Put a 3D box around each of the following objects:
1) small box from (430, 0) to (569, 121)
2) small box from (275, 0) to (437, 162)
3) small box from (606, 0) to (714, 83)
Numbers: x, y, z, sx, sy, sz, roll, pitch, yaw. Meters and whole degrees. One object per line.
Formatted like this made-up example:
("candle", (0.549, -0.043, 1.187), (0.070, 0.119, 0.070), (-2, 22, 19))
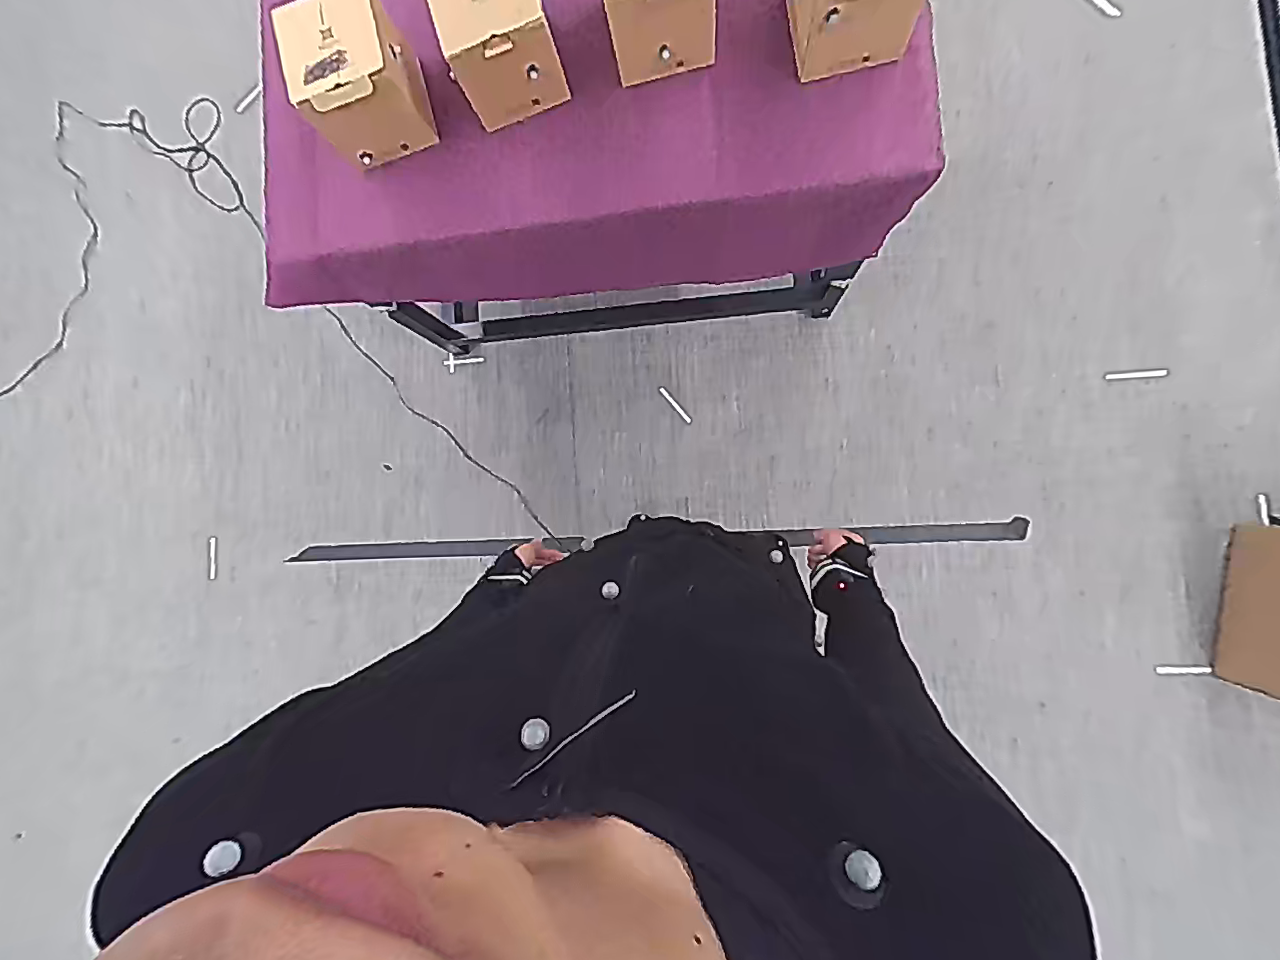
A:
("small box", (-0.232, -0.743, 0.903), (0.168, 0.176, 0.179), (-17, 85, 6))
("small box", (-0.475, -0.686, 0.930), (0.168, 0.176, 0.179), (-16, 84, 6))
("small box", (0.026, -0.798, 0.870), (0.168, 0.176, 0.179), (-9, 86, 7))
